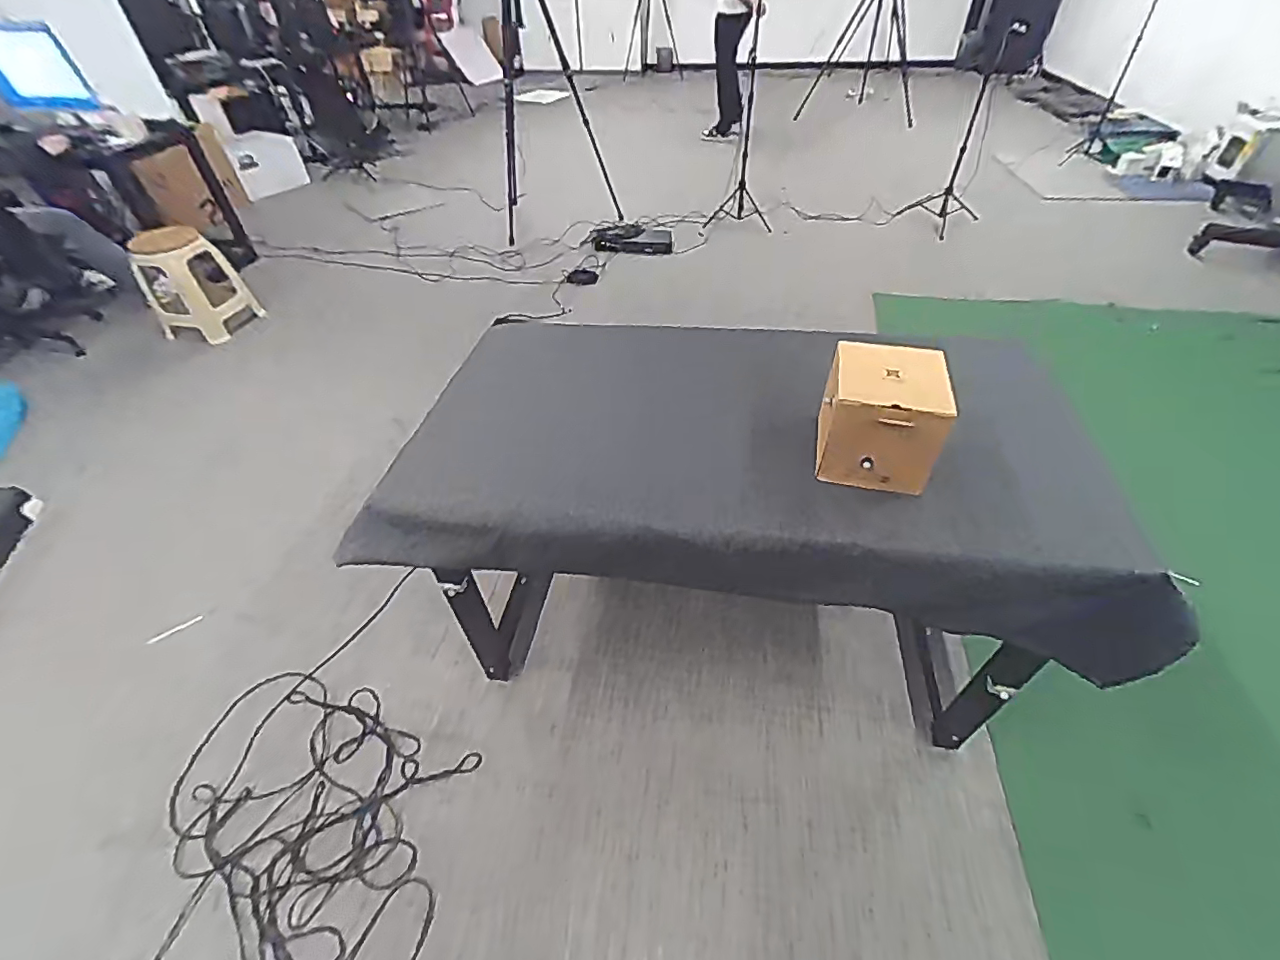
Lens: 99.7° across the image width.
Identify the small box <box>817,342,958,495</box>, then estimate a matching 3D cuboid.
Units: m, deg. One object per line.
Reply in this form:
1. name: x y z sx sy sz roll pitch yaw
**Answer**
1. small box: 0.395 -0.103 0.895 0.168 0.176 0.179 9 46 11
